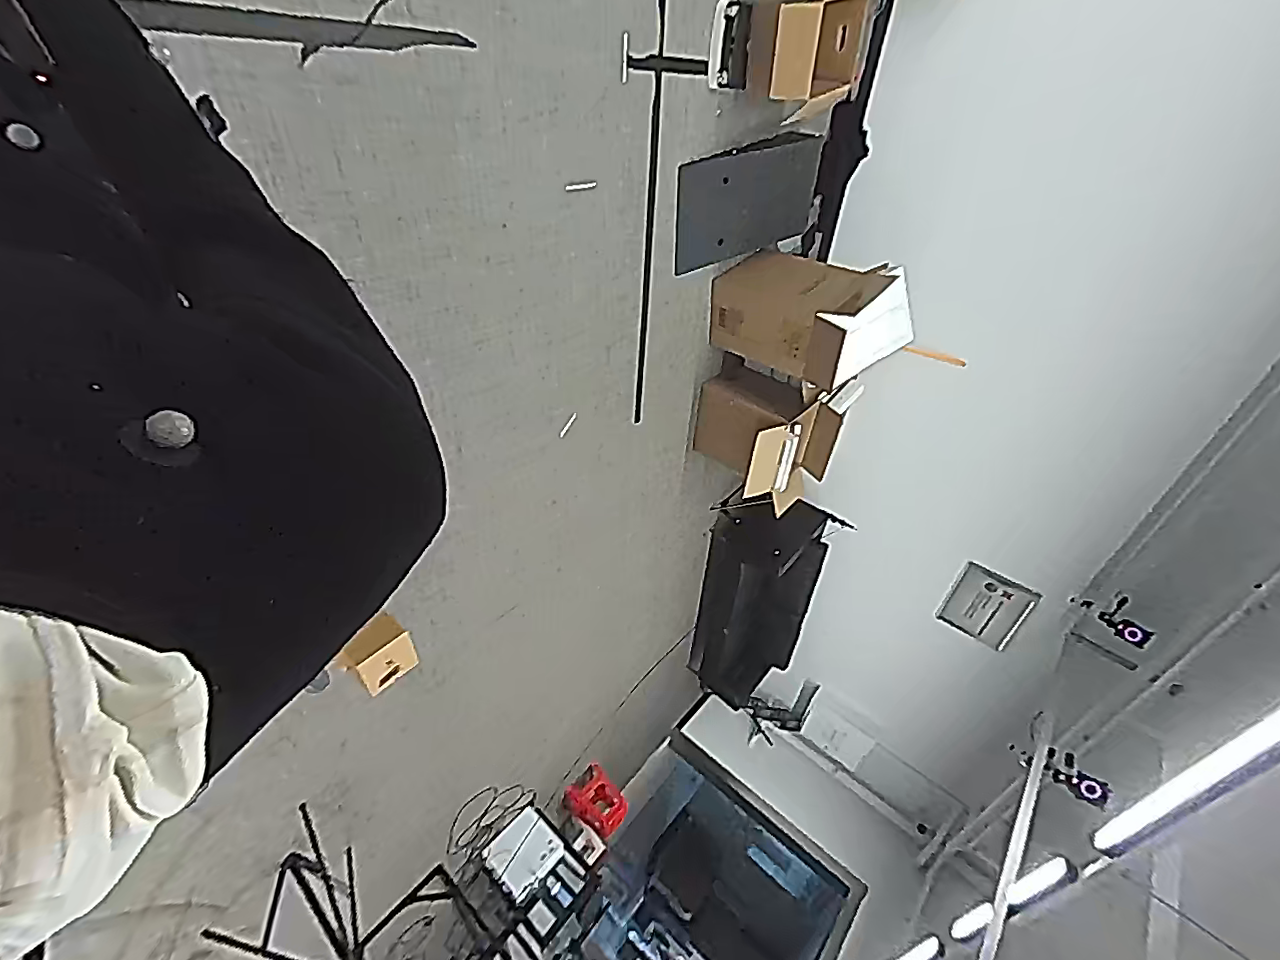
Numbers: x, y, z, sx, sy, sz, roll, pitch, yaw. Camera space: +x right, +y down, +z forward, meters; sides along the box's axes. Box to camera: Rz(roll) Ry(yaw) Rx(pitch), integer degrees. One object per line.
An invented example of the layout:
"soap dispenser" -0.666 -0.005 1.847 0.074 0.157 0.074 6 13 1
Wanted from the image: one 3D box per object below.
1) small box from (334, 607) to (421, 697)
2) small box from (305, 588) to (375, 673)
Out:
"small box" -0.822 0.535 1.700 0.168 0.176 0.179 -37 142 -38
"small box" -0.958 0.490 1.785 0.179 0.176 0.168 -38 144 -34
